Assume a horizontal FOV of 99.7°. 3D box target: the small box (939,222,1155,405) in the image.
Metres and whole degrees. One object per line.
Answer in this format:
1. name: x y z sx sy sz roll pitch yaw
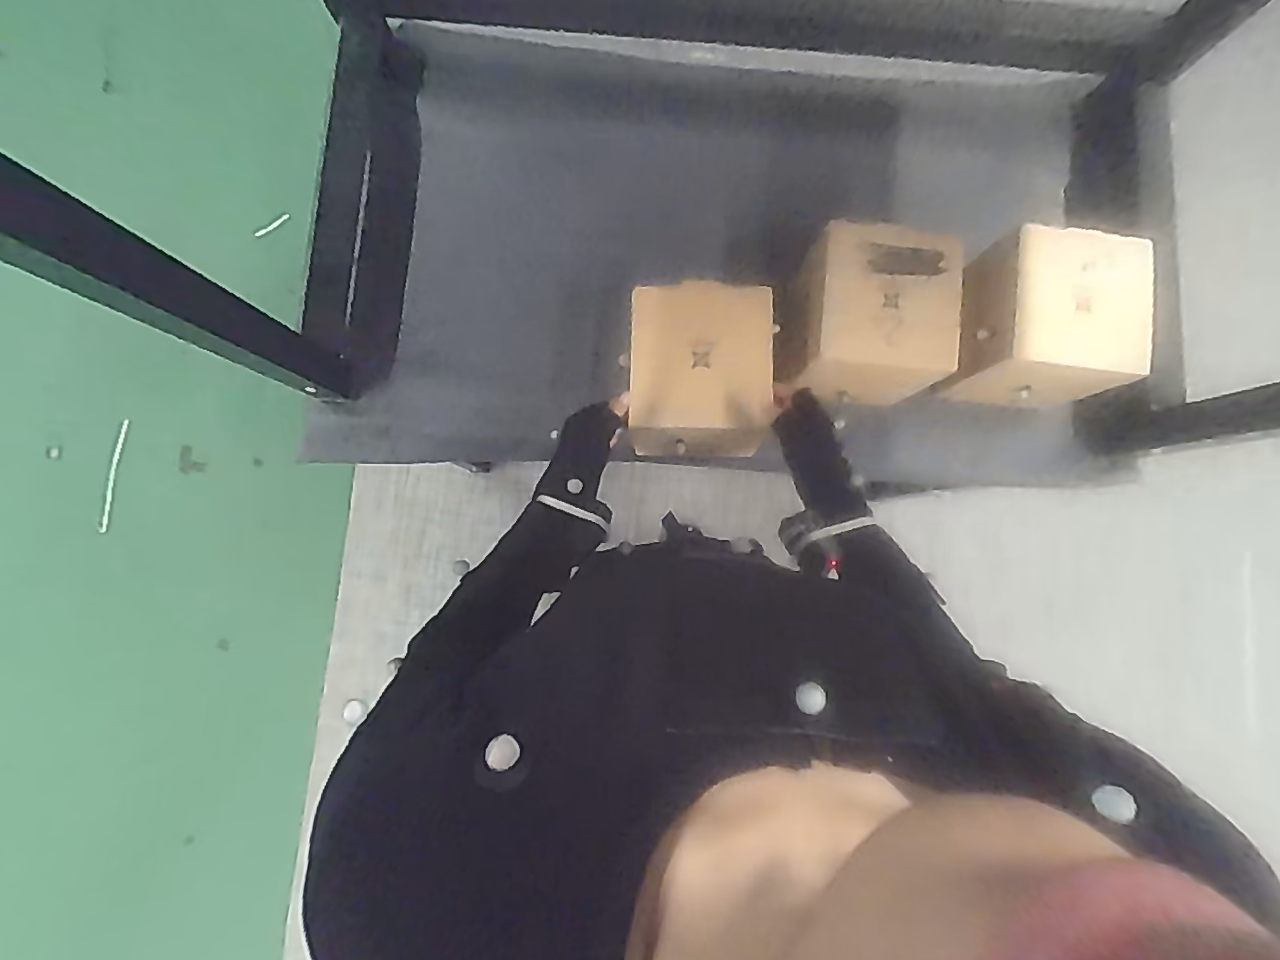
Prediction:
1. small box: 0.528 -0.209 0.725 0.168 0.176 0.179 8 83 0
